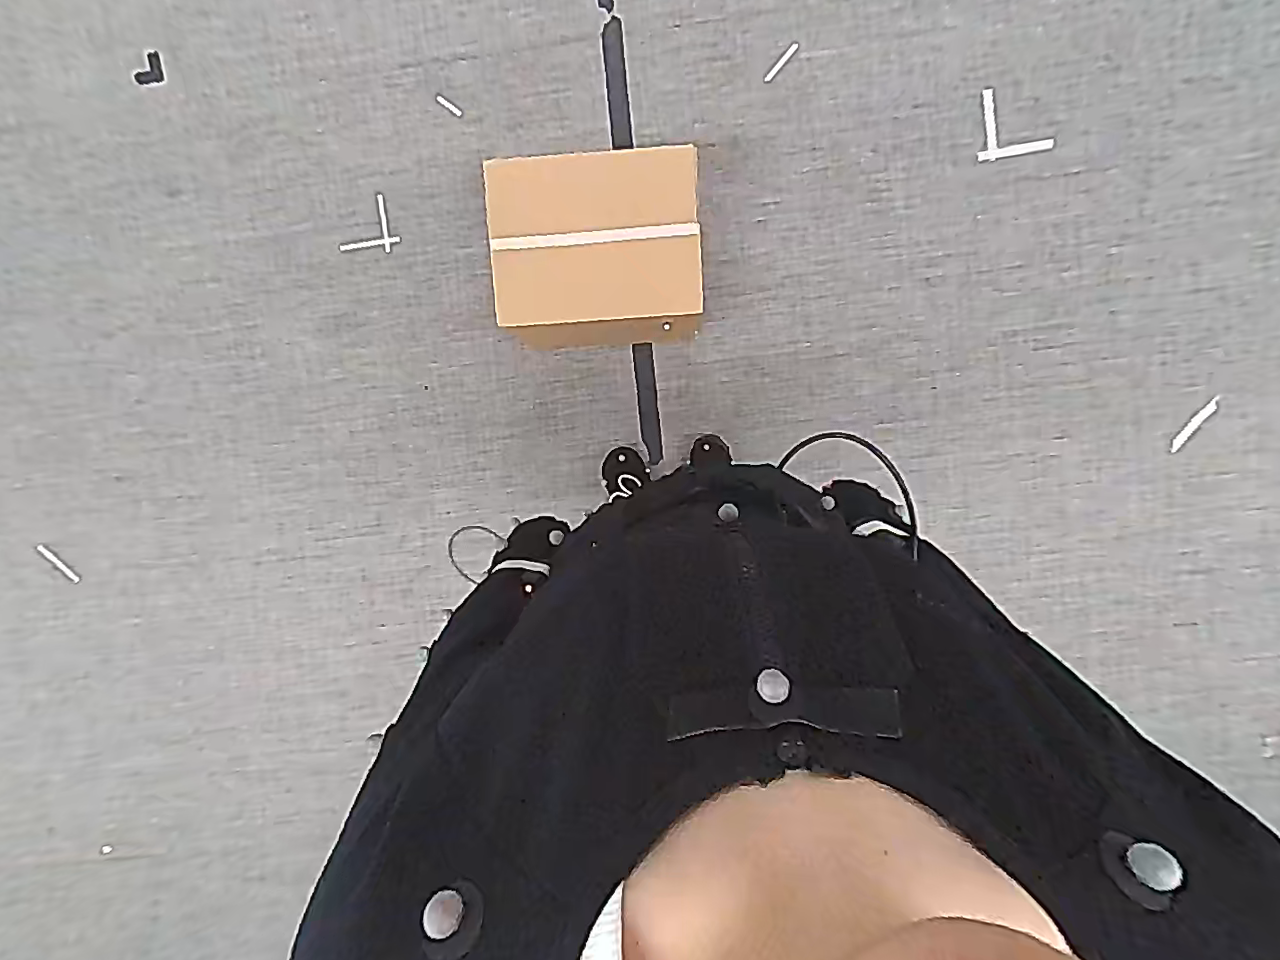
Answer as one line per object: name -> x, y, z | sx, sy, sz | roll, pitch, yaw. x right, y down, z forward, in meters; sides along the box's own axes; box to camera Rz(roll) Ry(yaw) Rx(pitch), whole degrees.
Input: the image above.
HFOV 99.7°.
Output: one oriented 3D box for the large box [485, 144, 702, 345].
large box -> -0.082, -0.483, 1.186 | 0.408, 0.320, 0.320 | -3, 95, 2
